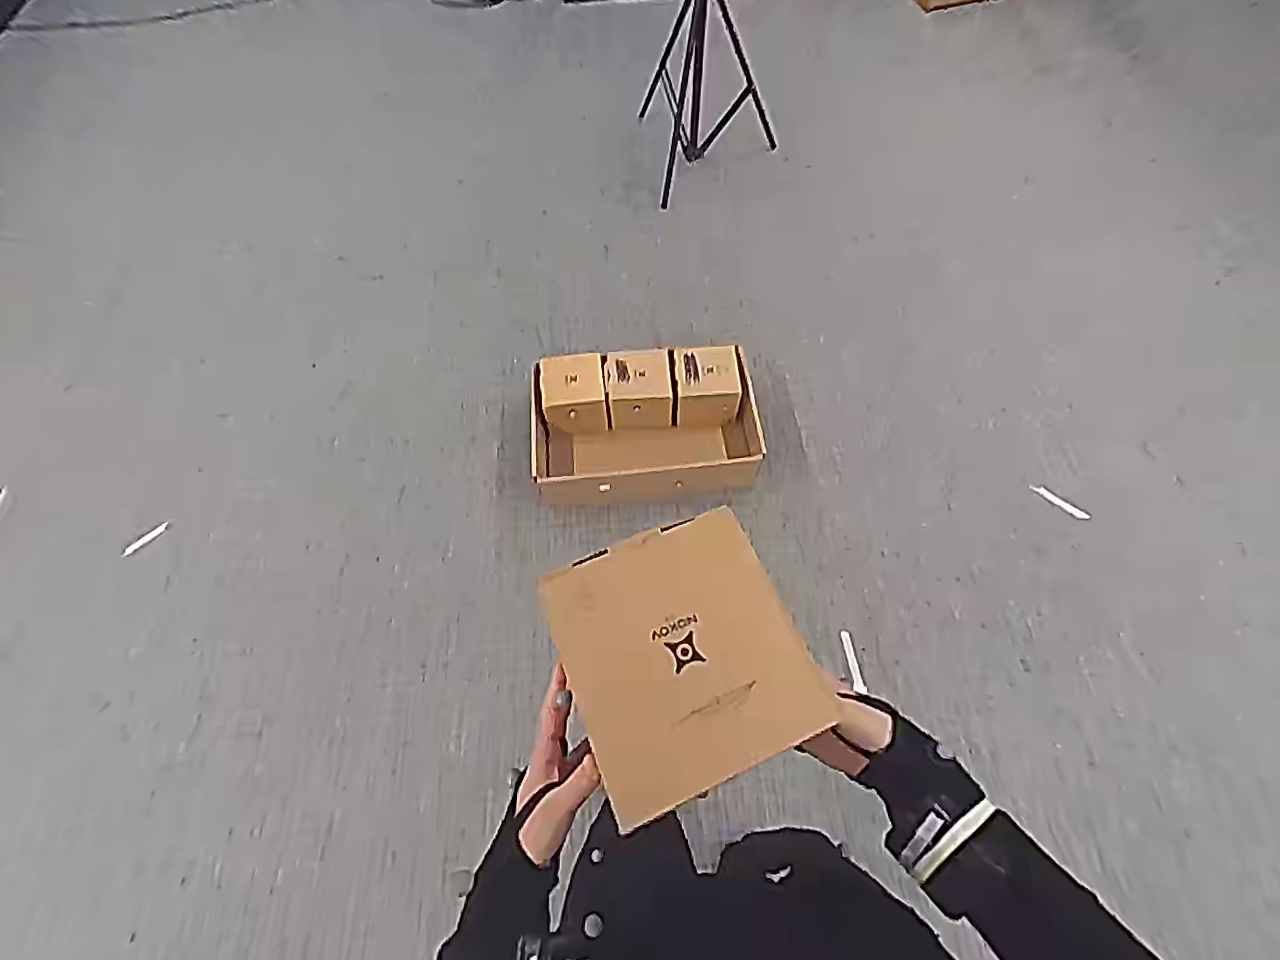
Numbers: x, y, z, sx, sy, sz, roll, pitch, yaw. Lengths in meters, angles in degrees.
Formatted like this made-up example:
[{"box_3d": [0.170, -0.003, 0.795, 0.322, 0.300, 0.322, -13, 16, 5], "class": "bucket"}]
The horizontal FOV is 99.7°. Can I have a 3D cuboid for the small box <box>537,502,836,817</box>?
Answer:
[{"box_3d": [0.022, 0.149, 0.453, 0.168, 0.176, 0.179, -19, 67, -12], "class": "small box"}]
